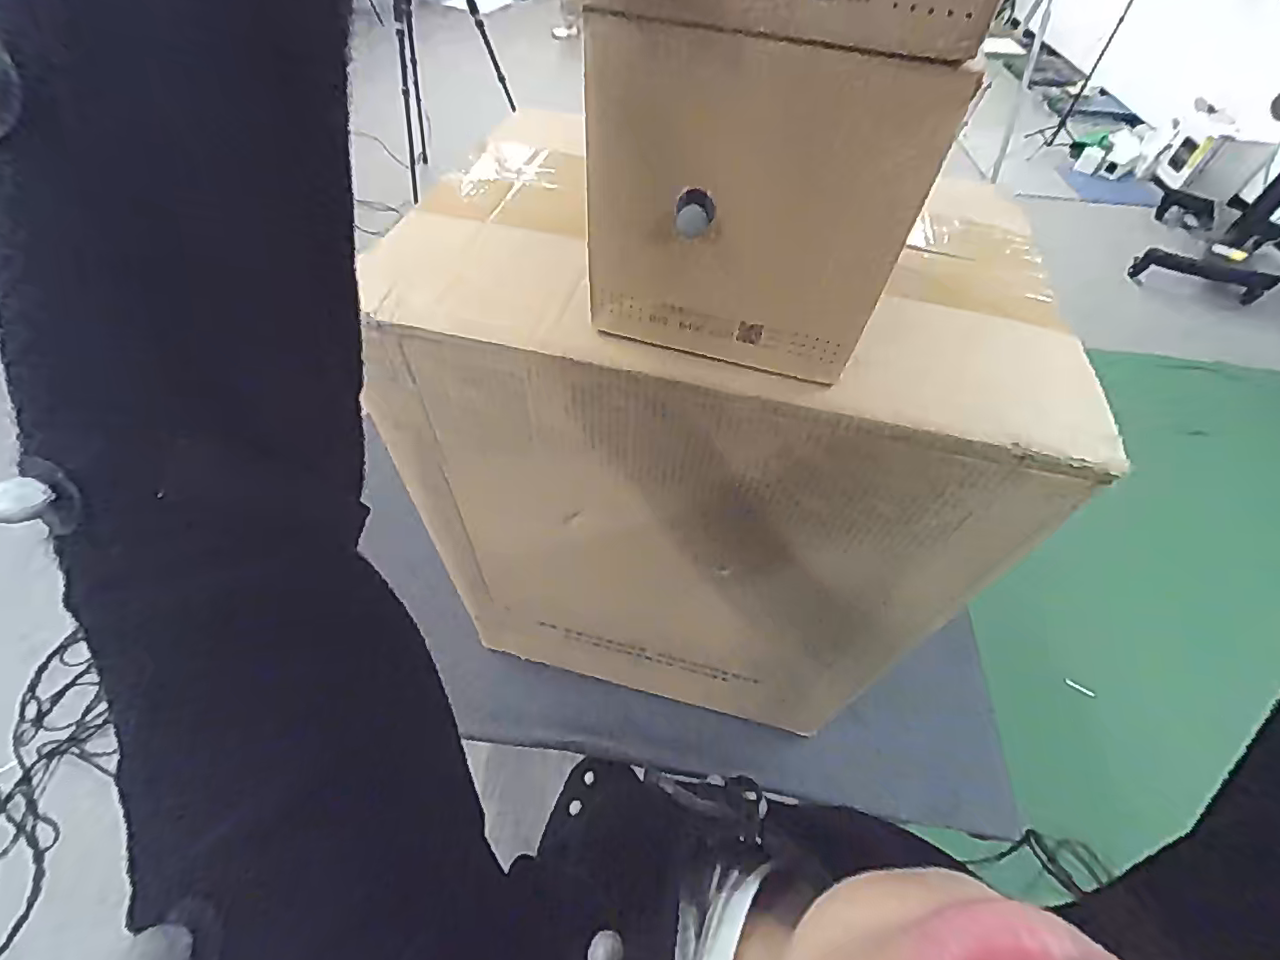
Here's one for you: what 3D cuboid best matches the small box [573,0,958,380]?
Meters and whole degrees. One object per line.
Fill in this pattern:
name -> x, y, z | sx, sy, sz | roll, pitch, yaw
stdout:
small box -> 0.069, -0.189, 0.337 | 0.168, 0.176, 0.179 | 15, 53, 7
